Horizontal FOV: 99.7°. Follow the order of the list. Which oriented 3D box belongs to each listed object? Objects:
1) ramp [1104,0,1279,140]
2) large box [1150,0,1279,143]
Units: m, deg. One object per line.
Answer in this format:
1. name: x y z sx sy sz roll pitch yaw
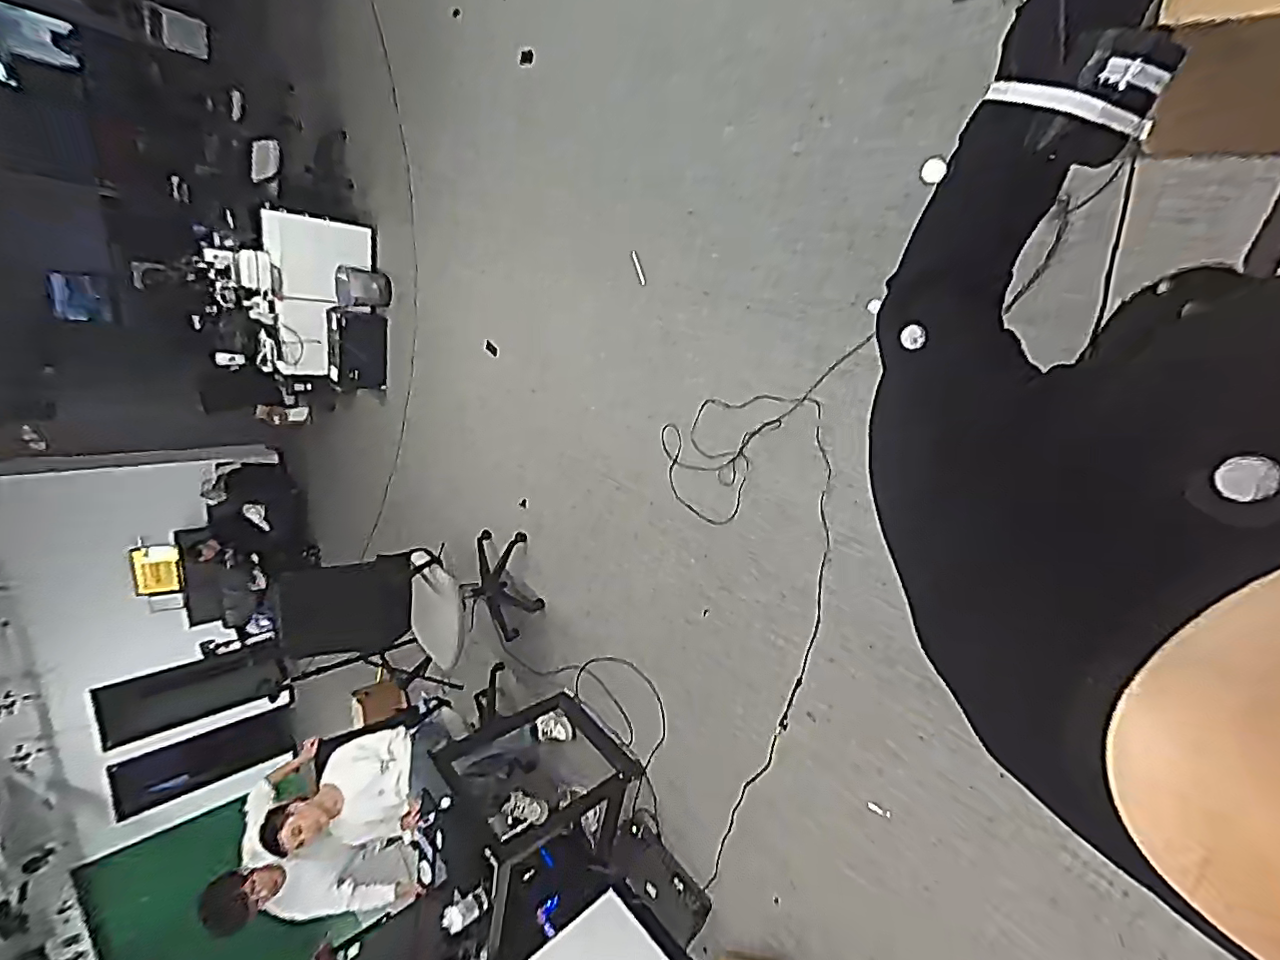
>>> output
1. ramp: 1.126 -1.044 0.716 0.509 0.206 0.991 26 115 39
2. large box: 0.563 -0.391 0.257 0.408 0.320 0.320 21 115 36
